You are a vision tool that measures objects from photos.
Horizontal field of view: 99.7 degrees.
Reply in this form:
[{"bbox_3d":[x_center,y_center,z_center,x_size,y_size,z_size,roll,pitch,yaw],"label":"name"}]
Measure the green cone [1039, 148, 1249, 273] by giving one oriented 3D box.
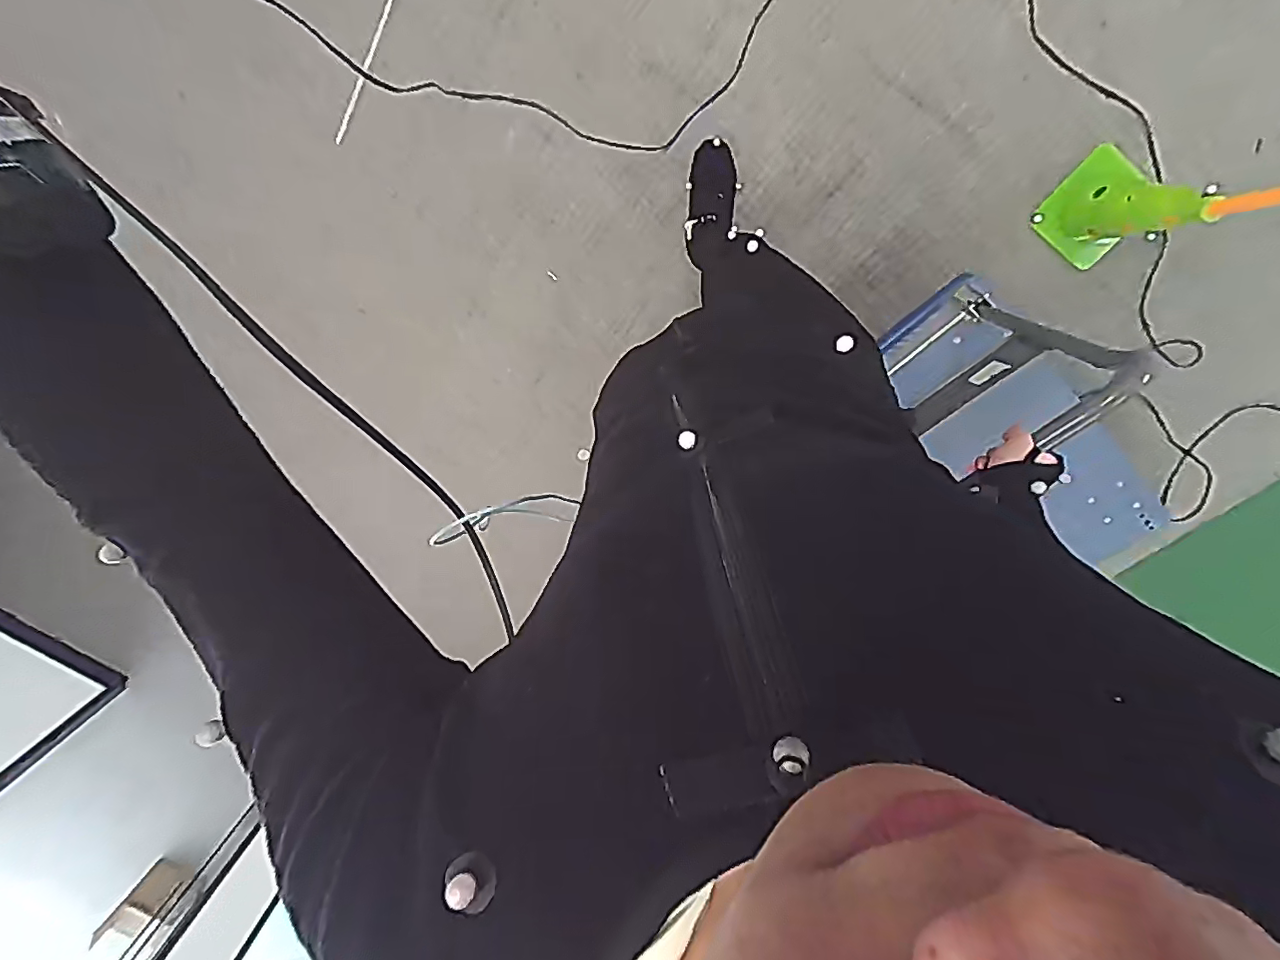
[{"bbox_3d":[1.025,-0.530,1.072,0.200,0.368,0.202,34,115,-9],"label":"green cone"}]
